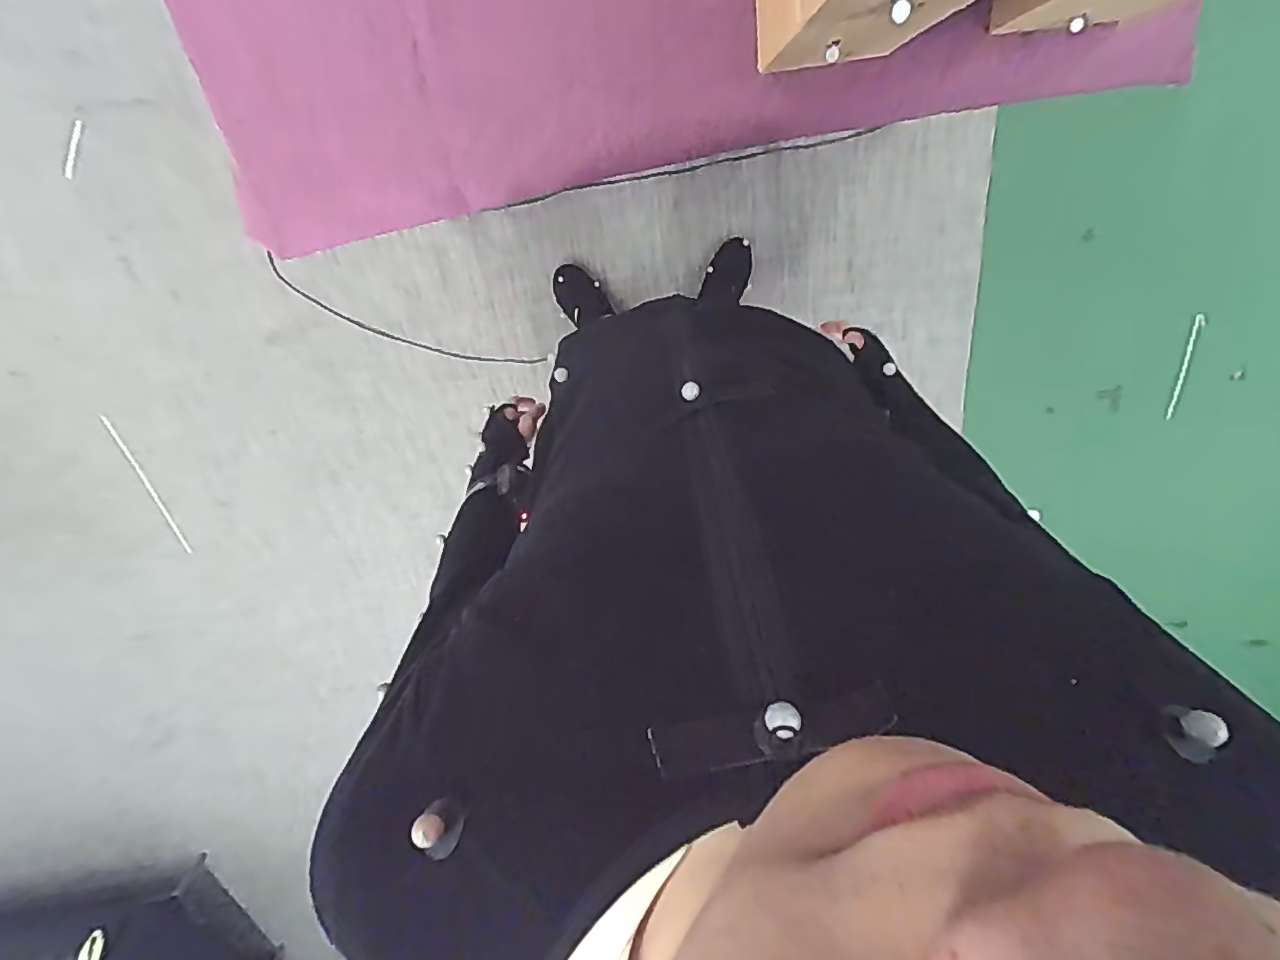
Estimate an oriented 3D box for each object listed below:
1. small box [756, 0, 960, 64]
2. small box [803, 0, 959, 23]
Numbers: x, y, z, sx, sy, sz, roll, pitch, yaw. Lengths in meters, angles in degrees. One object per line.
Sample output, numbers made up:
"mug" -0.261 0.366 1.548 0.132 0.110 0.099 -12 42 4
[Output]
"small box" 0.219 -0.560 0.560 0.168 0.176 0.179 -7 114 2
"small box" 0.225 -0.493 0.410 0.168 0.176 0.179 -7 115 2
